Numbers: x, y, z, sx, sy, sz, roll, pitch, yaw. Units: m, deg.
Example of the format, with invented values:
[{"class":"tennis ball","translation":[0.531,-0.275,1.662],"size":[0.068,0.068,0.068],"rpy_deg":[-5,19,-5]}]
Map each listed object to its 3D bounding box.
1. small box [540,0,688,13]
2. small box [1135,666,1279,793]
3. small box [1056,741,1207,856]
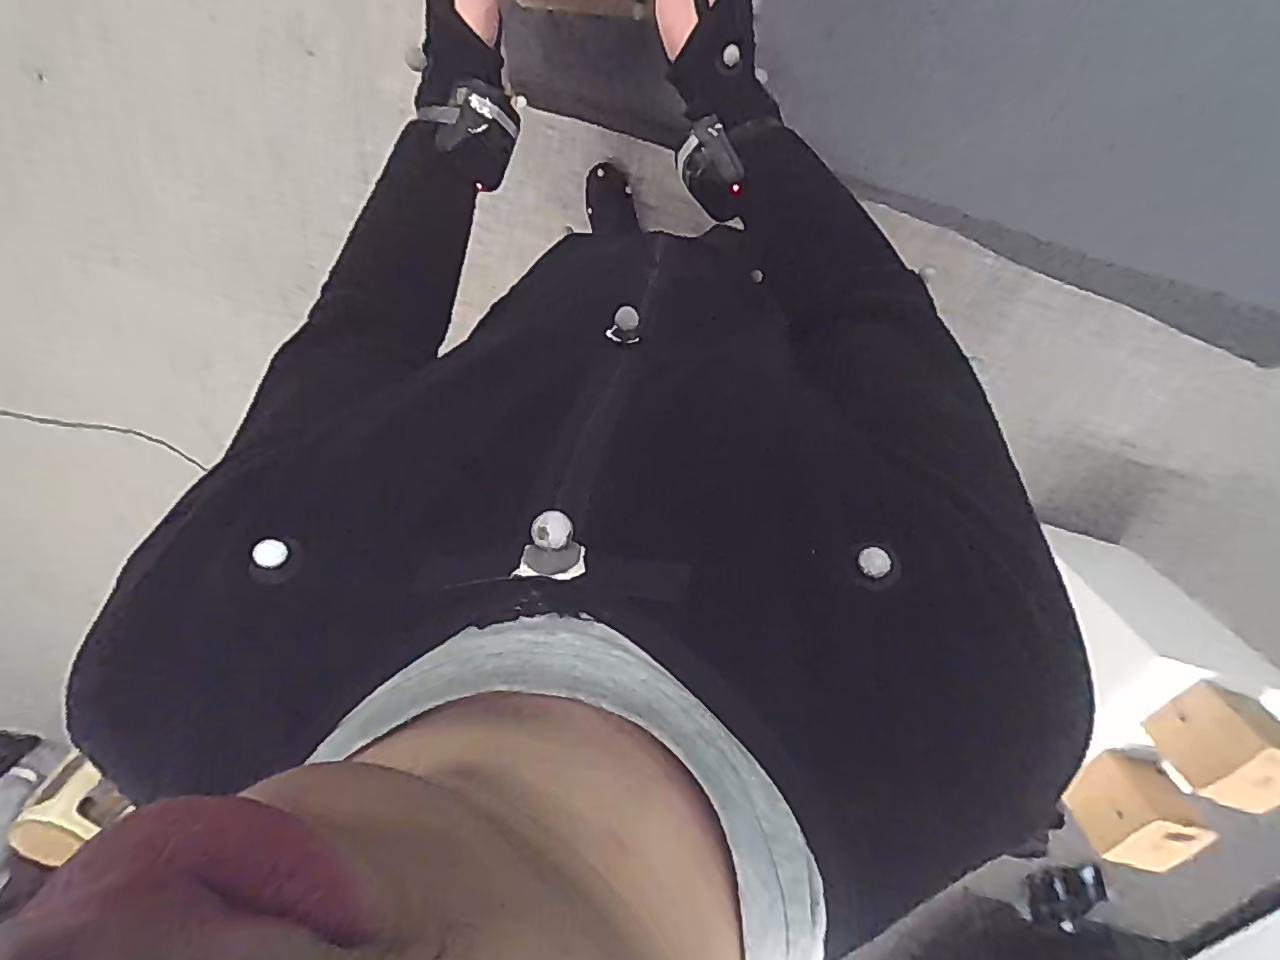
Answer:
[{"class":"small box","translation":[-0.028,-0.499,0.425],"size":[0.179,0.176,0.168],"rpy_deg":[5,118,-1]},{"class":"small box","translation":[1.259,0.545,1.189],"size":[0.168,0.176,0.179],"rpy_deg":[18,118,-10]},{"class":"small box","translation":[1.171,0.765,1.309],"size":[0.168,0.176,0.179],"rpy_deg":[15,118,-8]}]
